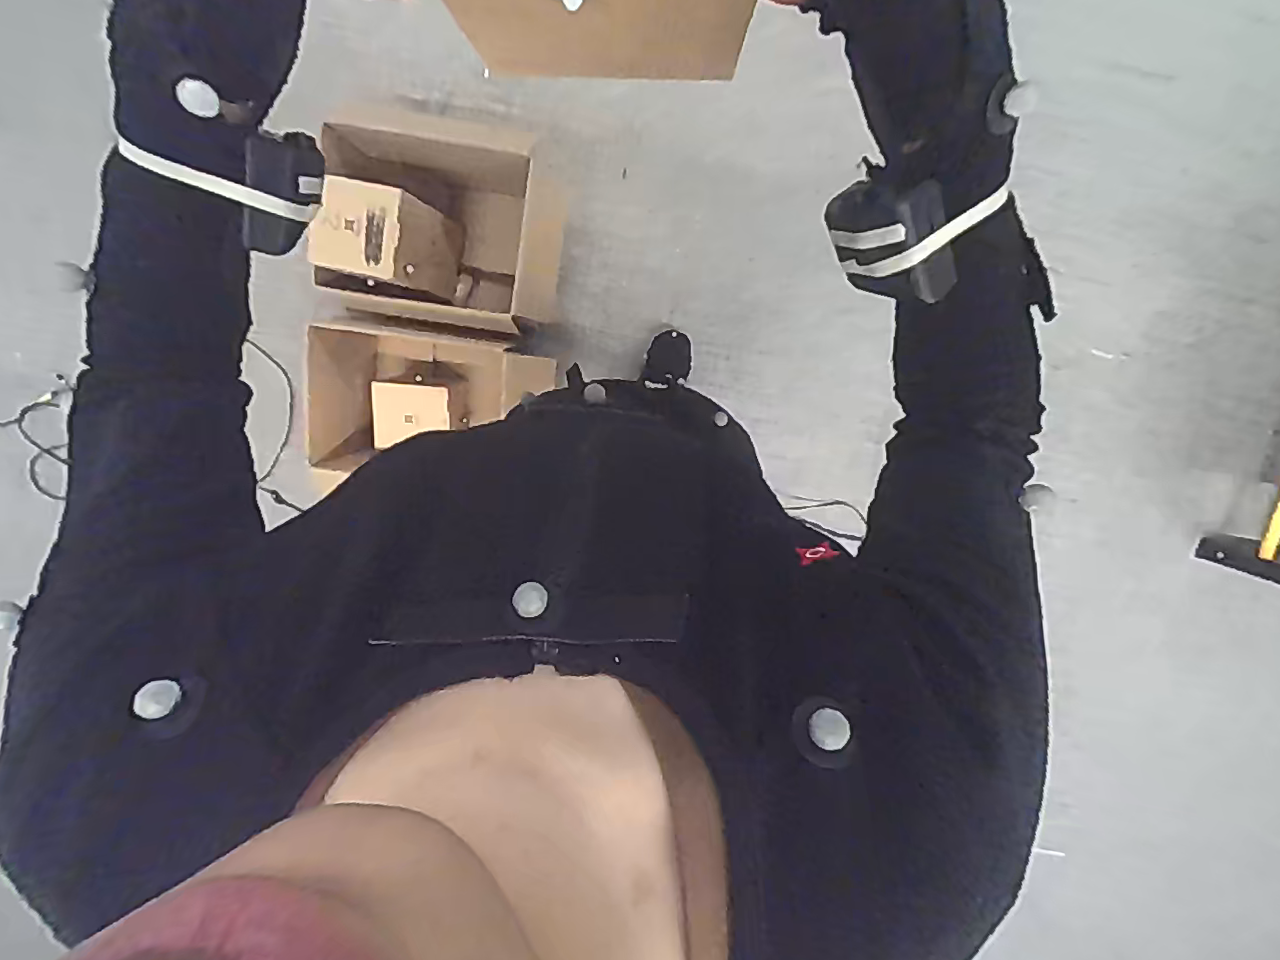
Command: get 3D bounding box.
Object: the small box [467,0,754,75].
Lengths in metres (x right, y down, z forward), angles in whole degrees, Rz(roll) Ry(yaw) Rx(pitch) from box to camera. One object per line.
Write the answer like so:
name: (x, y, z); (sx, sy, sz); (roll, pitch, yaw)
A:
small box: (-0.016, -0.345, 0.286); (0.179, 0.176, 0.168); (2, 107, 0)
